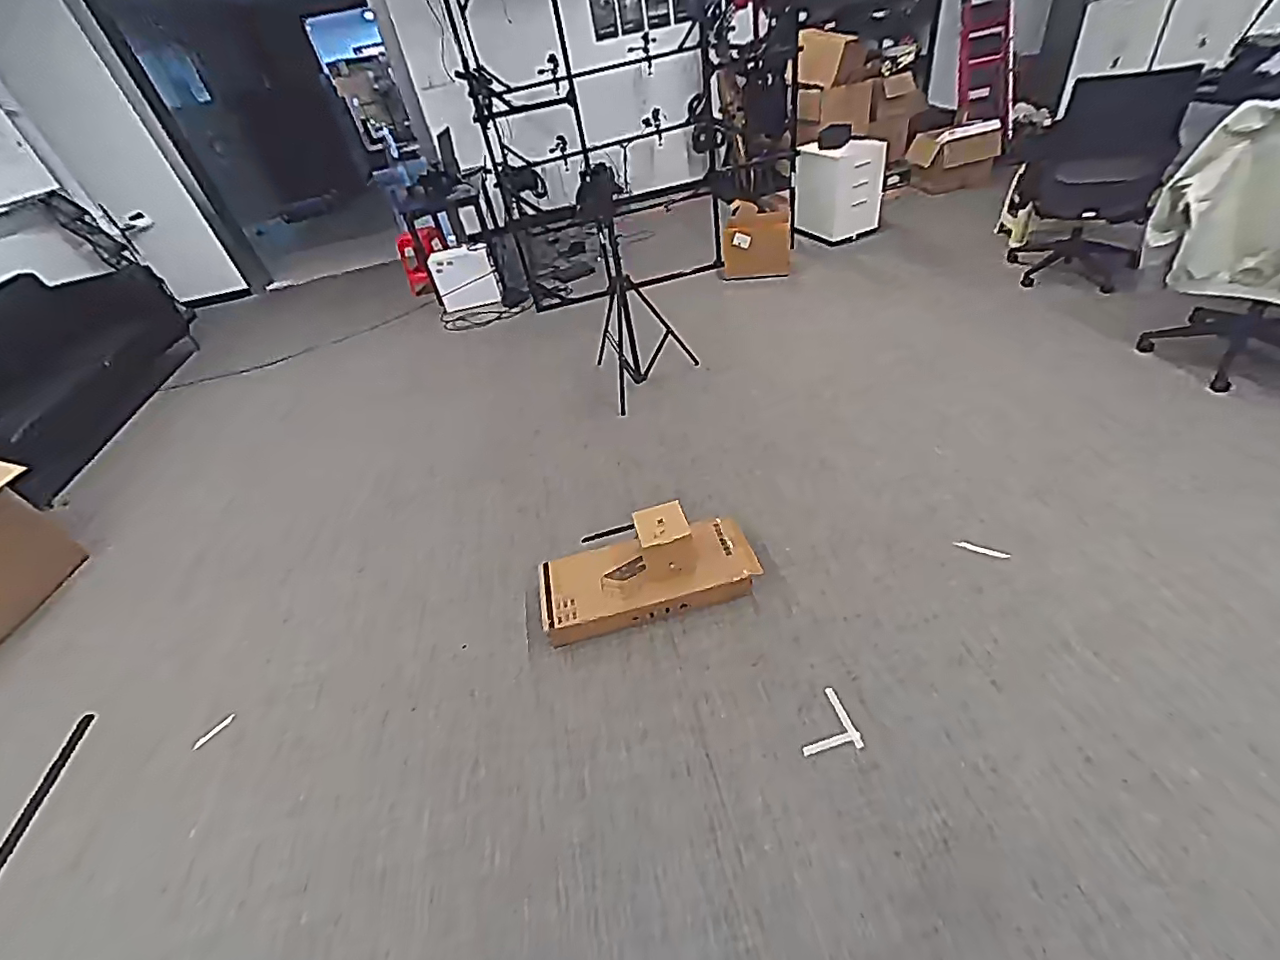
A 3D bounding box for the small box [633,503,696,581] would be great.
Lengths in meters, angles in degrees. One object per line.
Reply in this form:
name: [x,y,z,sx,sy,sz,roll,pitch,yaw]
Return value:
small box: [0.083,0.210,1.828,0.168,0.176,0.179,-16,39,-3]
